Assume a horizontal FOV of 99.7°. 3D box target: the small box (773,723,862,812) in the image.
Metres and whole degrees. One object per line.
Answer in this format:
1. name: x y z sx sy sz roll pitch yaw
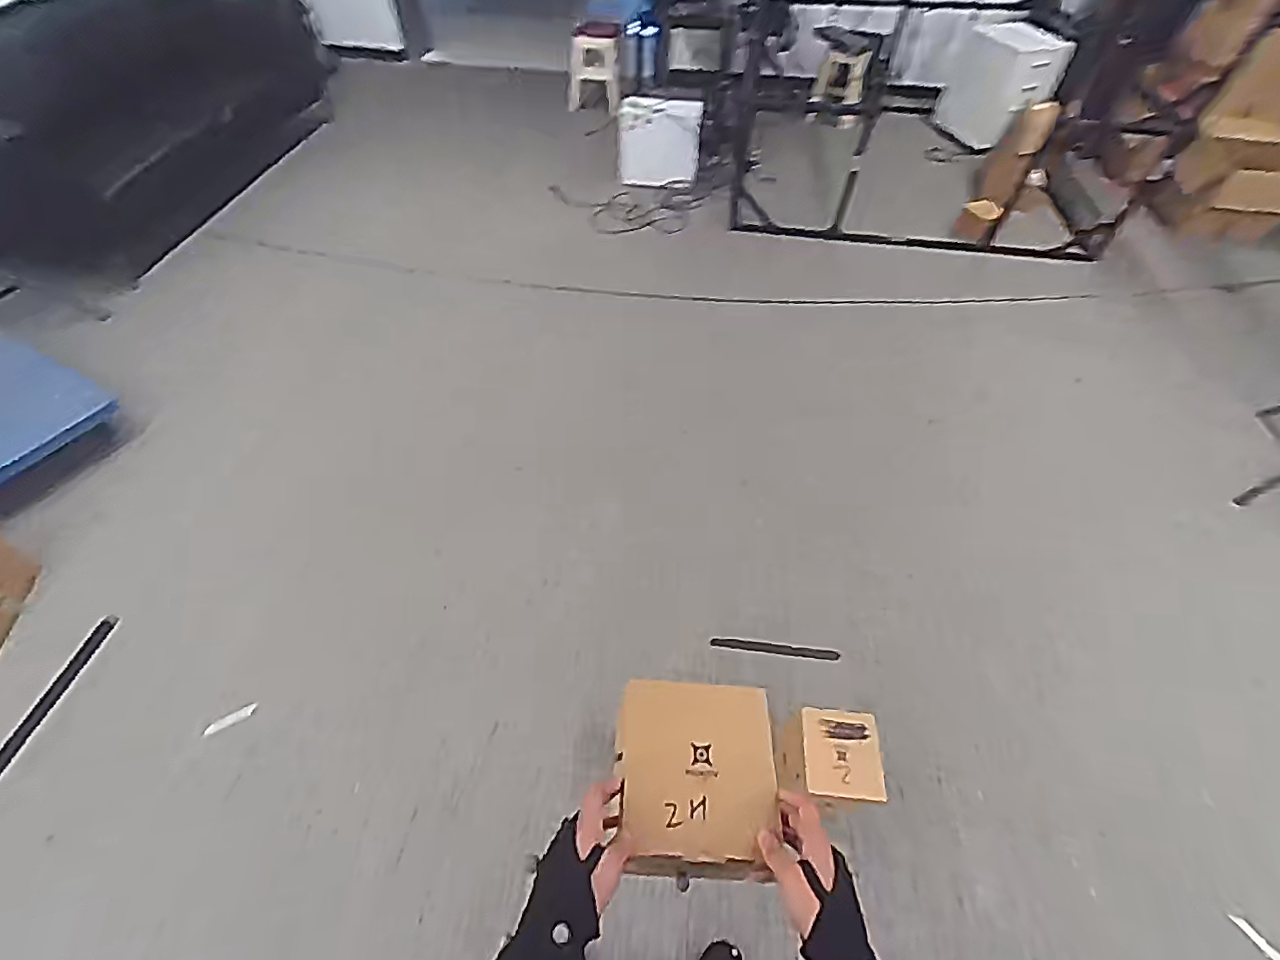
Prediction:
1. small box: 0.439 0.733 1.370 0.179 0.176 0.168 6 54 2

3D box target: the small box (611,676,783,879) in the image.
1. small box: 0.056 0.358 0.648 0.168 0.176 0.179 6 49 -3
